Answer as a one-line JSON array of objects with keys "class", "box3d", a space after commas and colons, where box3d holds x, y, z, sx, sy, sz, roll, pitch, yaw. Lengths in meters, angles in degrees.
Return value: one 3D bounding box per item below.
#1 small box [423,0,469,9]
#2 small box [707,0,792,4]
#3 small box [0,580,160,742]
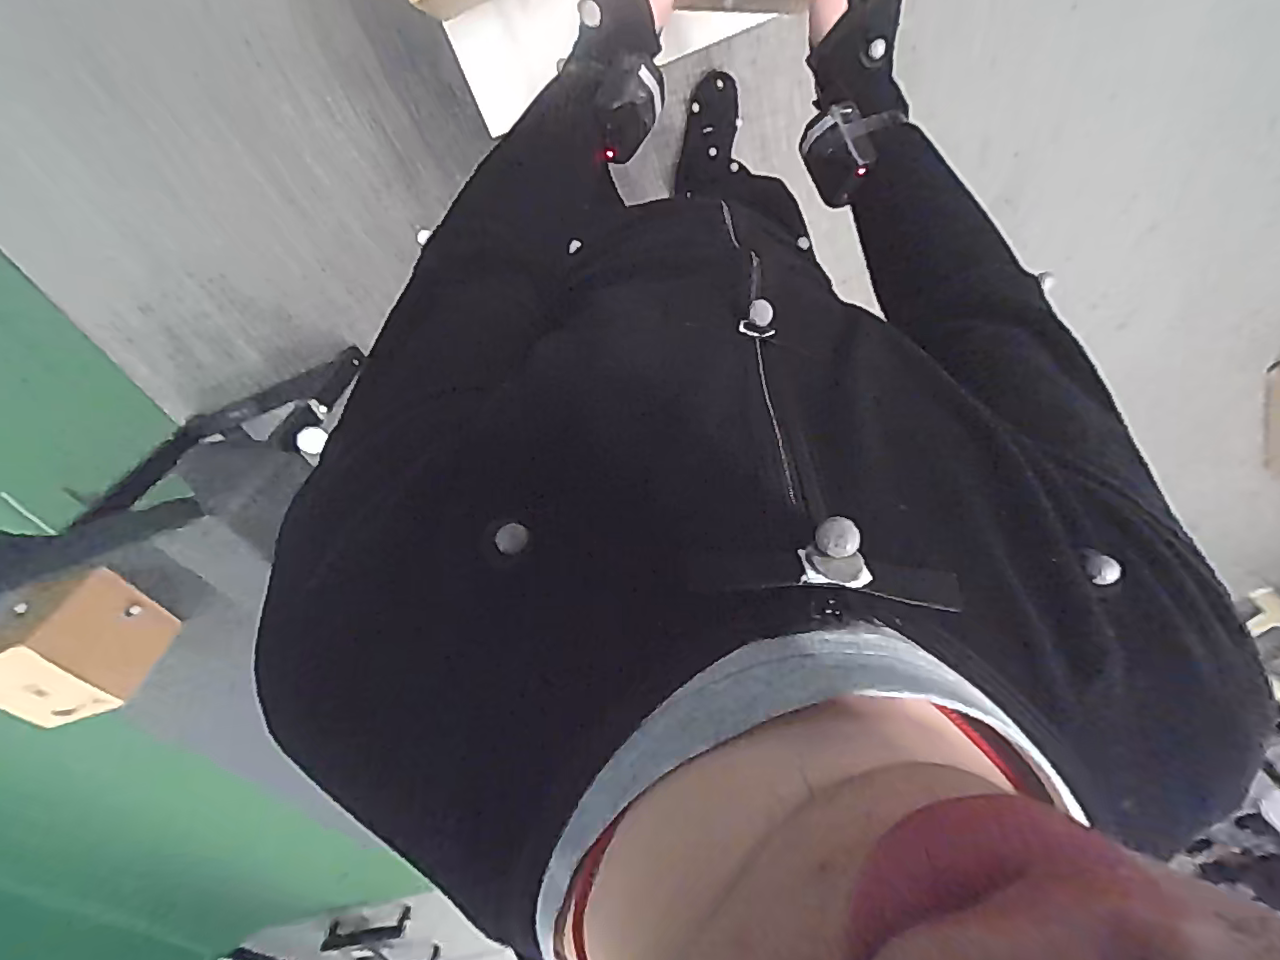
[{"class": "small box", "box3d": [-0.168, -0.582, 0.503, 0.179, 0.176, 0.168, -20, 125, 7]}, {"class": "small box", "box3d": [0.098, -0.542, 0.468, 0.179, 0.176, 0.168, 2, 120, -1]}, {"class": "small box", "box3d": [-0.954, 0.282, 0.870, 0.168, 0.176, 0.179, -18, 126, 6]}]
